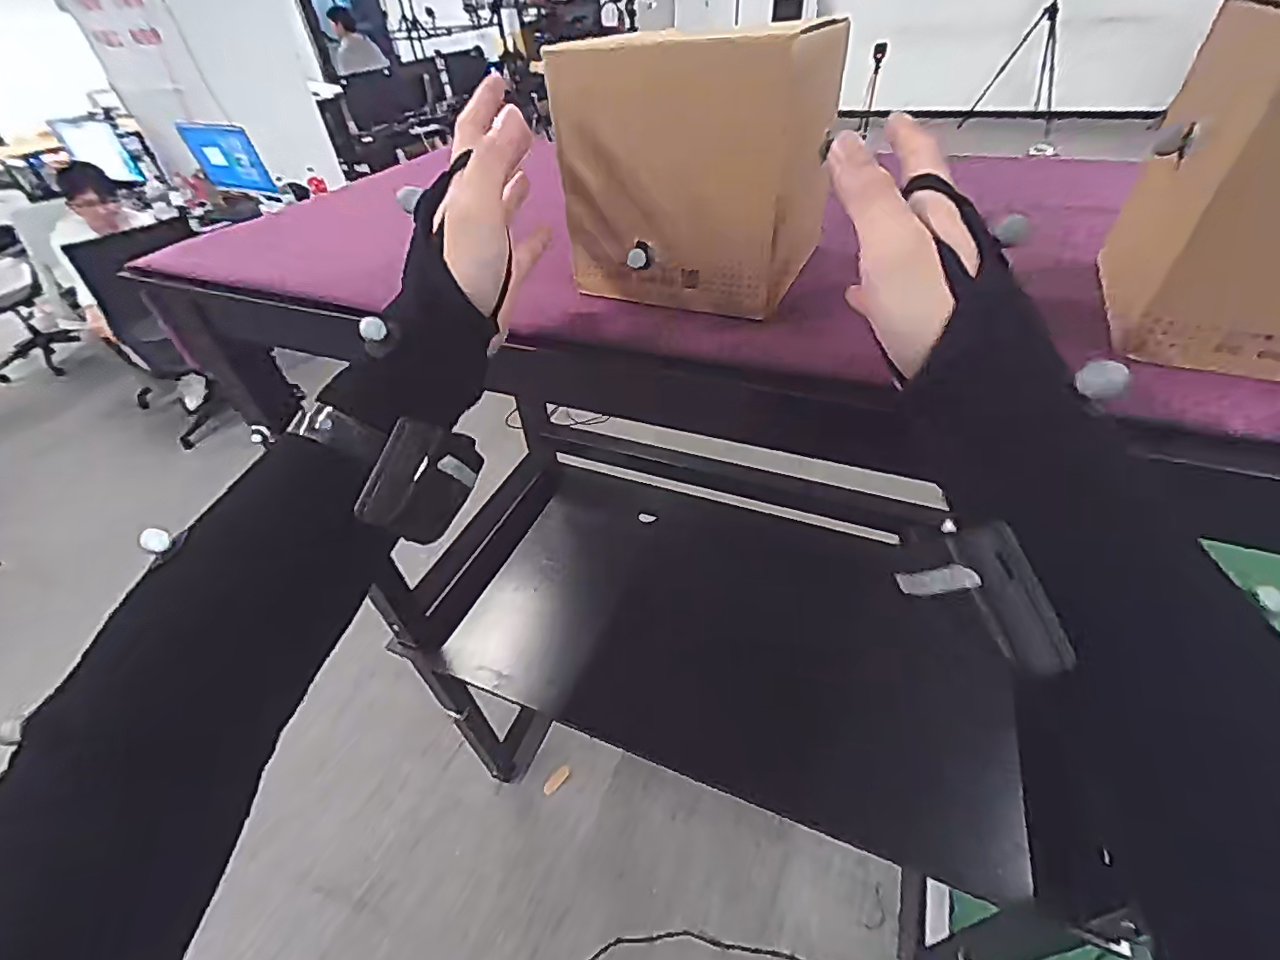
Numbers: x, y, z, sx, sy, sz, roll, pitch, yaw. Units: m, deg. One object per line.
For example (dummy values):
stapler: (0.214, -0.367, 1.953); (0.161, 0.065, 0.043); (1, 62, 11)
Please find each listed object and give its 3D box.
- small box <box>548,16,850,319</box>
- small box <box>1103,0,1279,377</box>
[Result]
small box: (0.052, -0.249, 0.428); (0.168, 0.176, 0.179); (15, 45, 22)
small box: (0.403, -0.169, 0.306); (0.168, 0.176, 0.179); (16, 46, 23)
